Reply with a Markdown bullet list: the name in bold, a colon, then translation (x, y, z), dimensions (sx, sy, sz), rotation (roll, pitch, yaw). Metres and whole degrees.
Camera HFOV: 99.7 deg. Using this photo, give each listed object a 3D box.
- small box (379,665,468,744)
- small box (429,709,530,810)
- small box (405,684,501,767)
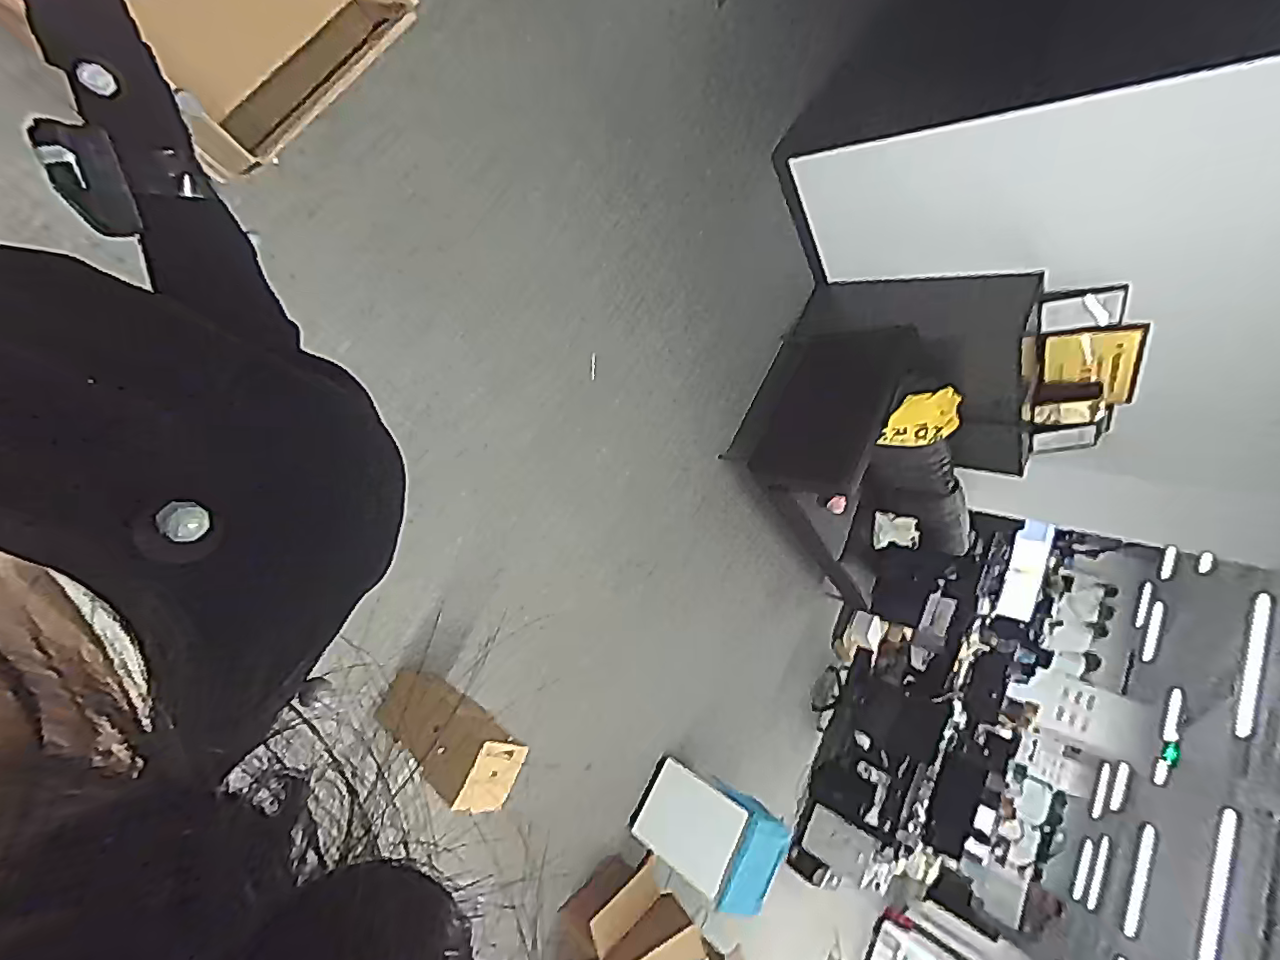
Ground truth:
- **small box**: translation (-0.671, 0.699, 1.676), dimensions (0.168, 0.176, 0.179), rotation (44, 69, -45)
- **small box**: translation (-0.437, 0.749, 1.453), dimensions (0.168, 0.176, 0.179), rotation (42, 71, -46)
- **small box**: translation (-0.546, 0.721, 1.572), dimensions (0.168, 0.176, 0.179), rotation (44, 68, -44)
